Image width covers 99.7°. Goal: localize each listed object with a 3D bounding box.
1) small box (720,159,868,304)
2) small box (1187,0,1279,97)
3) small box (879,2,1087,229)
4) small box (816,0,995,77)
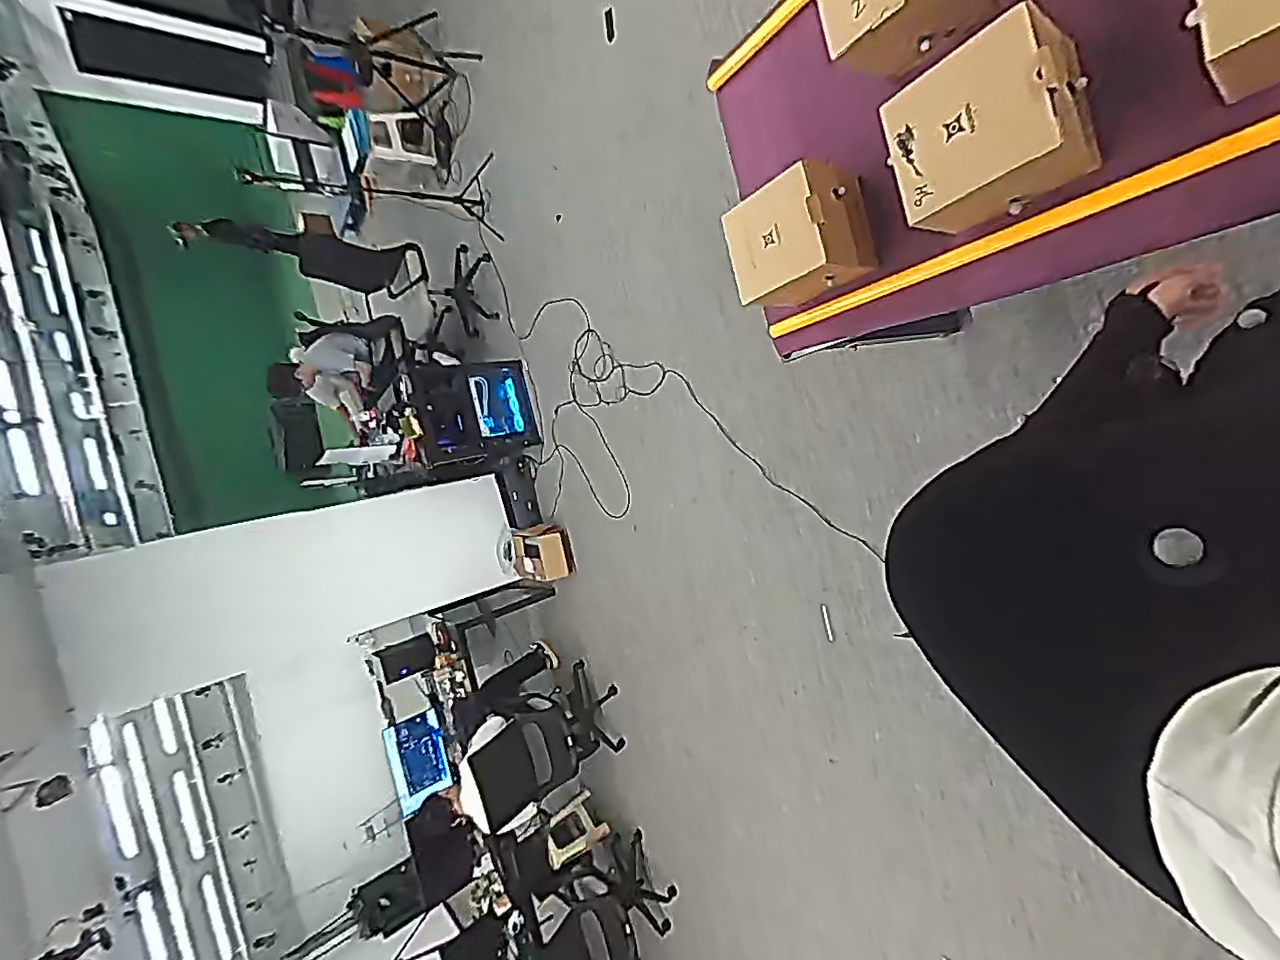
[{"bbox_3d":[0.274,-0.419,0.941,0.179,0.176,0.168,-12,91,51],"label":"small box"},{"bbox_3d":[0.616,-0.487,0.477,0.179,0.176,0.168,-7,94,54],"label":"small box"},{"bbox_3d":[0.450,-0.451,0.706,0.179,0.176,0.168,-13,91,52],"label":"small box"},{"bbox_3d":[0.356,-0.704,0.741,0.168,0.176,0.179,-10,95,53],"label":"small box"}]
